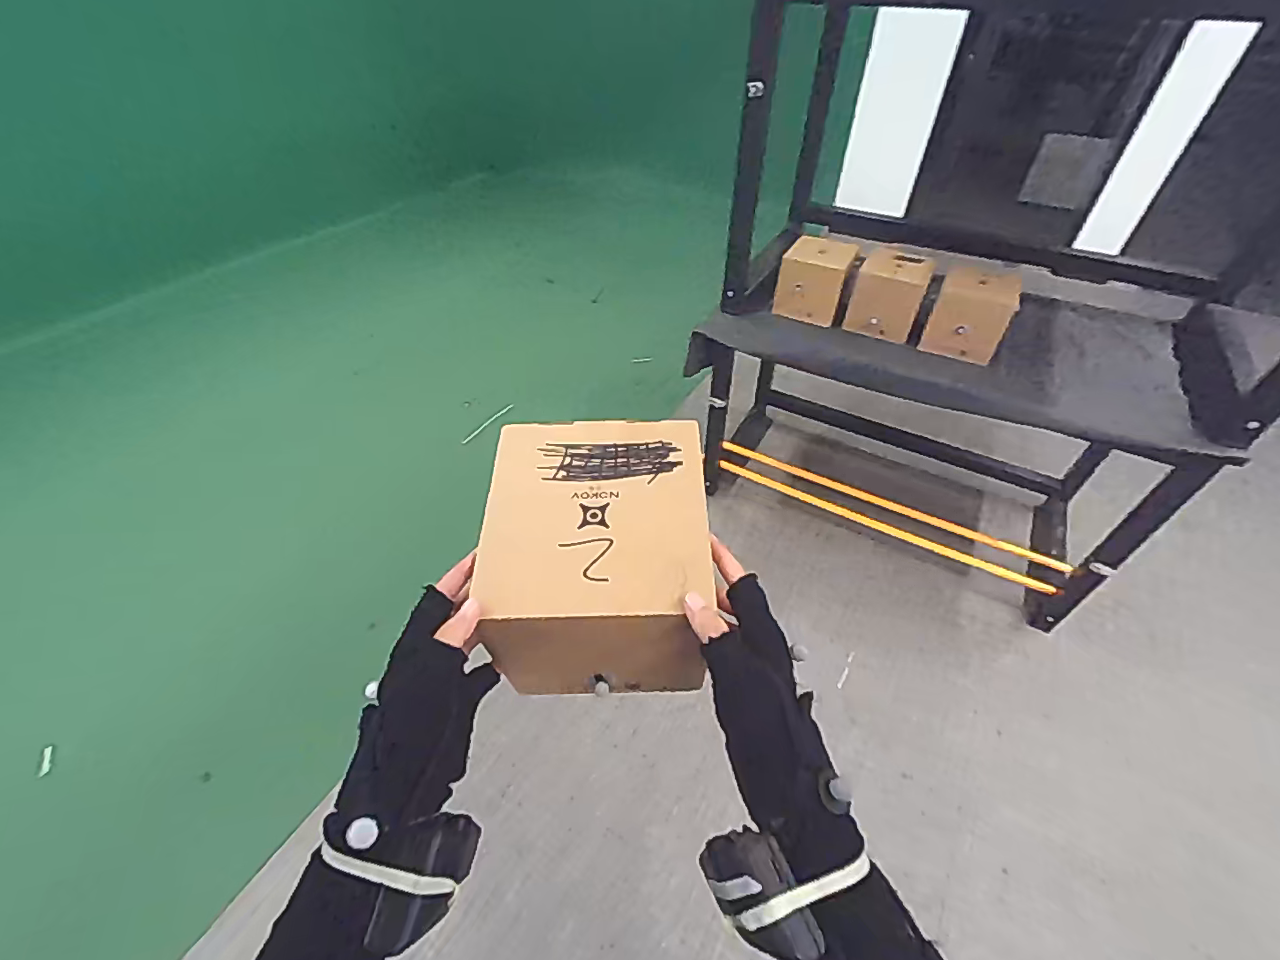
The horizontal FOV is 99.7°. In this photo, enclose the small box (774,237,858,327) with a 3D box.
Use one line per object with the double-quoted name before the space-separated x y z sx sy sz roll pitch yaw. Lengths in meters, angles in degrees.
"small box" 0.483 -0.548 1.499 0.168 0.176 0.179 22 48 20
